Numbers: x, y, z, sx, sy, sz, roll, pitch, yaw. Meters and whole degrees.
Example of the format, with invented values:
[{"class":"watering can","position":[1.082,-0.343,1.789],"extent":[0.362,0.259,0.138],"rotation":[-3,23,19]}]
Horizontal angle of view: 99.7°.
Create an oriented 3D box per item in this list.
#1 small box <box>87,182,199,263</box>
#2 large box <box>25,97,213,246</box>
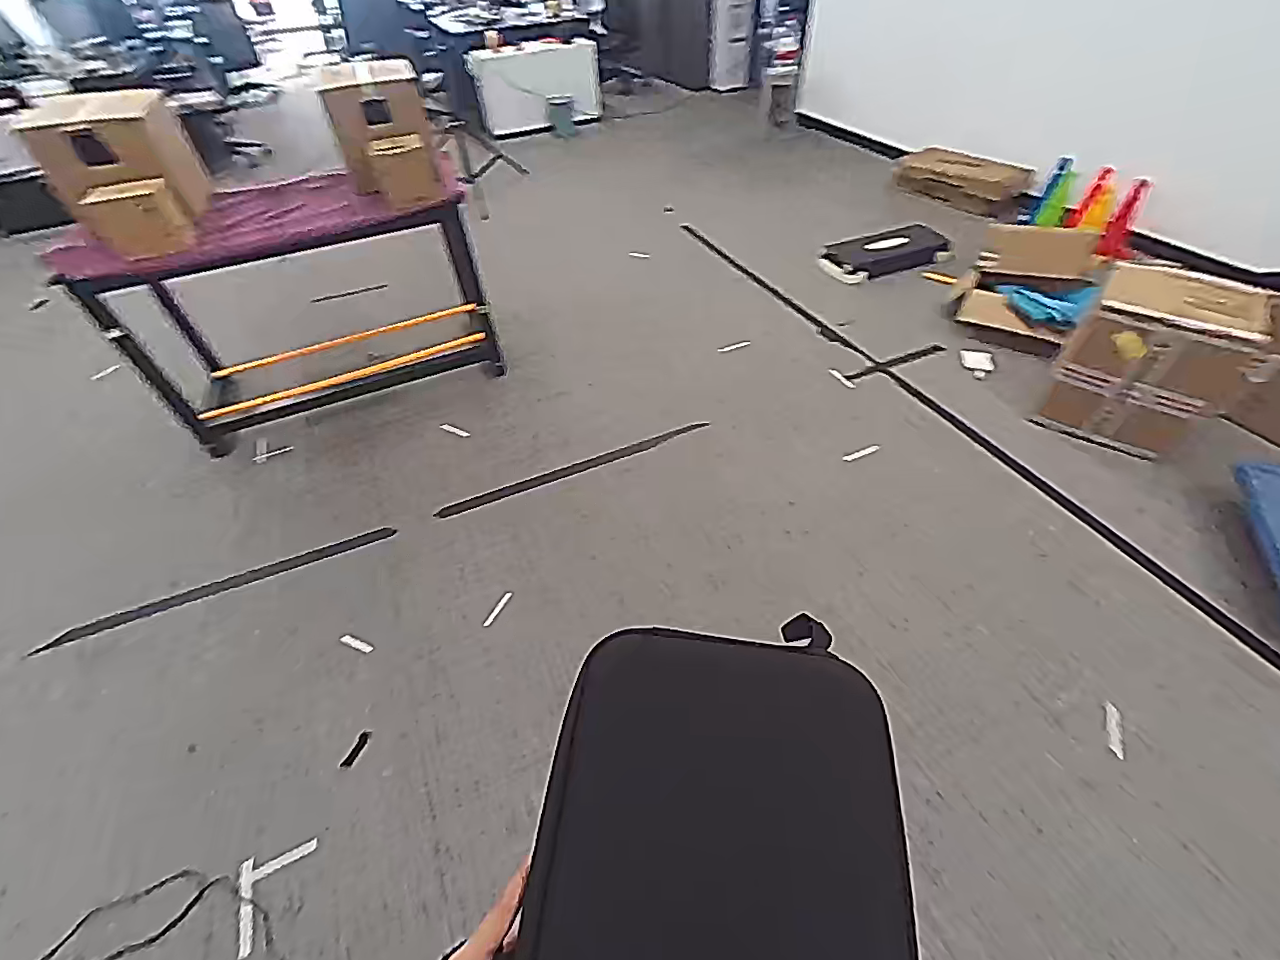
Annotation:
[{"class":"small box","position":[-1.495,-0.776,1.638],"extent":[0.179,0.176,0.168],"rotation":[-20,47,-16]},{"class":"large box","position":[-1.685,-1.033,1.797],"extent":[0.320,0.320,0.408],"rotation":[-19,51,-15]}]
